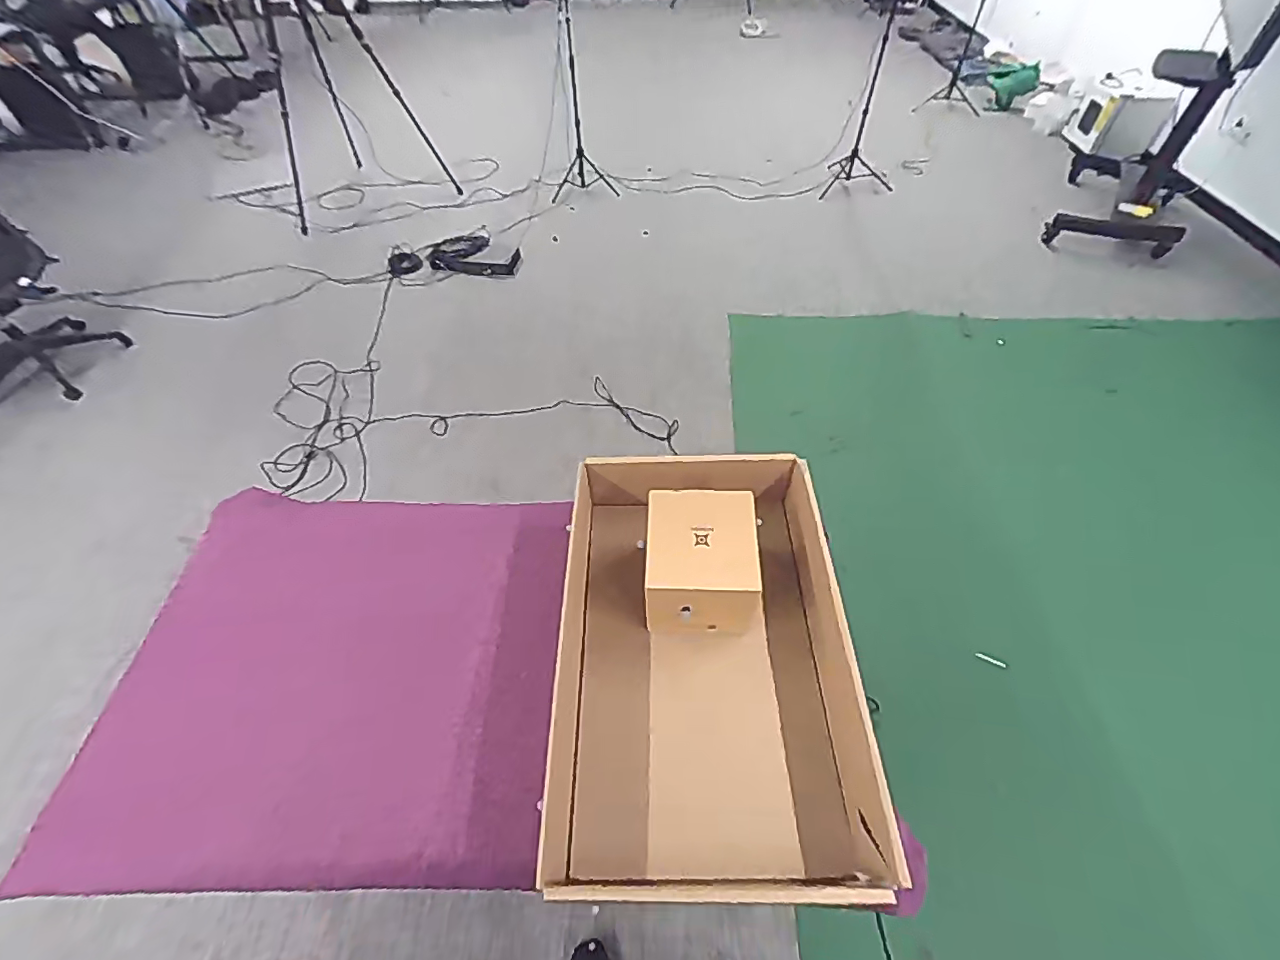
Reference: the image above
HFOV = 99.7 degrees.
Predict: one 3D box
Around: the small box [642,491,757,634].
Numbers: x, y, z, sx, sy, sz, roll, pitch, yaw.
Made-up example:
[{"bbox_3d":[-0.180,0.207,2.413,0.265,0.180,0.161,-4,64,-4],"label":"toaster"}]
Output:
[{"bbox_3d":[0.093,0.136,0.871,0.168,0.176,0.179,0,52,4],"label":"small box"}]
